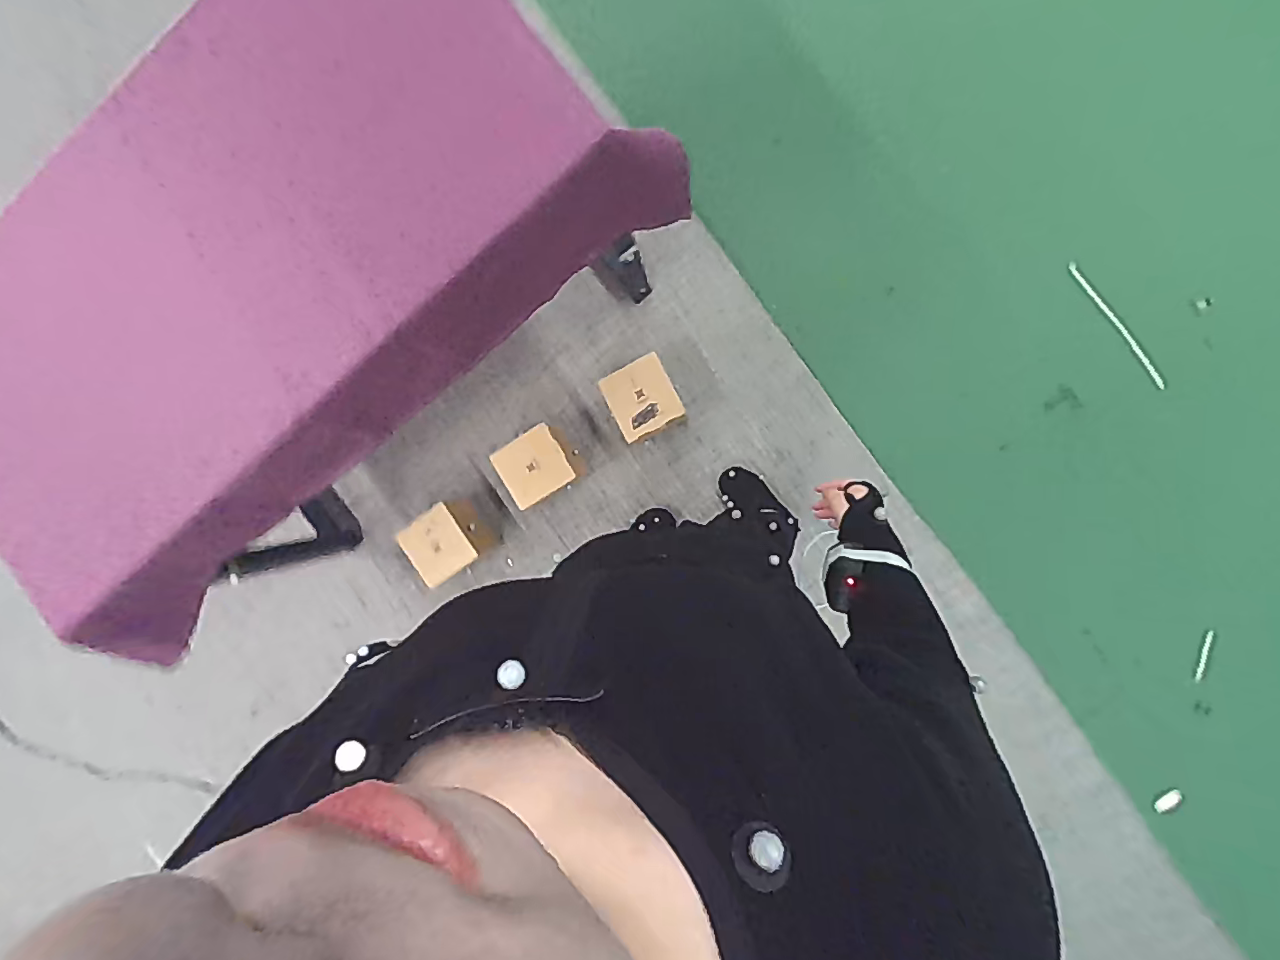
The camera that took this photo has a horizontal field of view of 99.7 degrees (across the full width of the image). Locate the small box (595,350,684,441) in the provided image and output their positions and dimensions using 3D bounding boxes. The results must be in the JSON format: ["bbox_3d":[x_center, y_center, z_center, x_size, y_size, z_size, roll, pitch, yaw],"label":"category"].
[{"bbox_3d":[0.008,-0.212,1.414,0.168,0.176,0.179,-27,88,7],"label":"small box"}]
